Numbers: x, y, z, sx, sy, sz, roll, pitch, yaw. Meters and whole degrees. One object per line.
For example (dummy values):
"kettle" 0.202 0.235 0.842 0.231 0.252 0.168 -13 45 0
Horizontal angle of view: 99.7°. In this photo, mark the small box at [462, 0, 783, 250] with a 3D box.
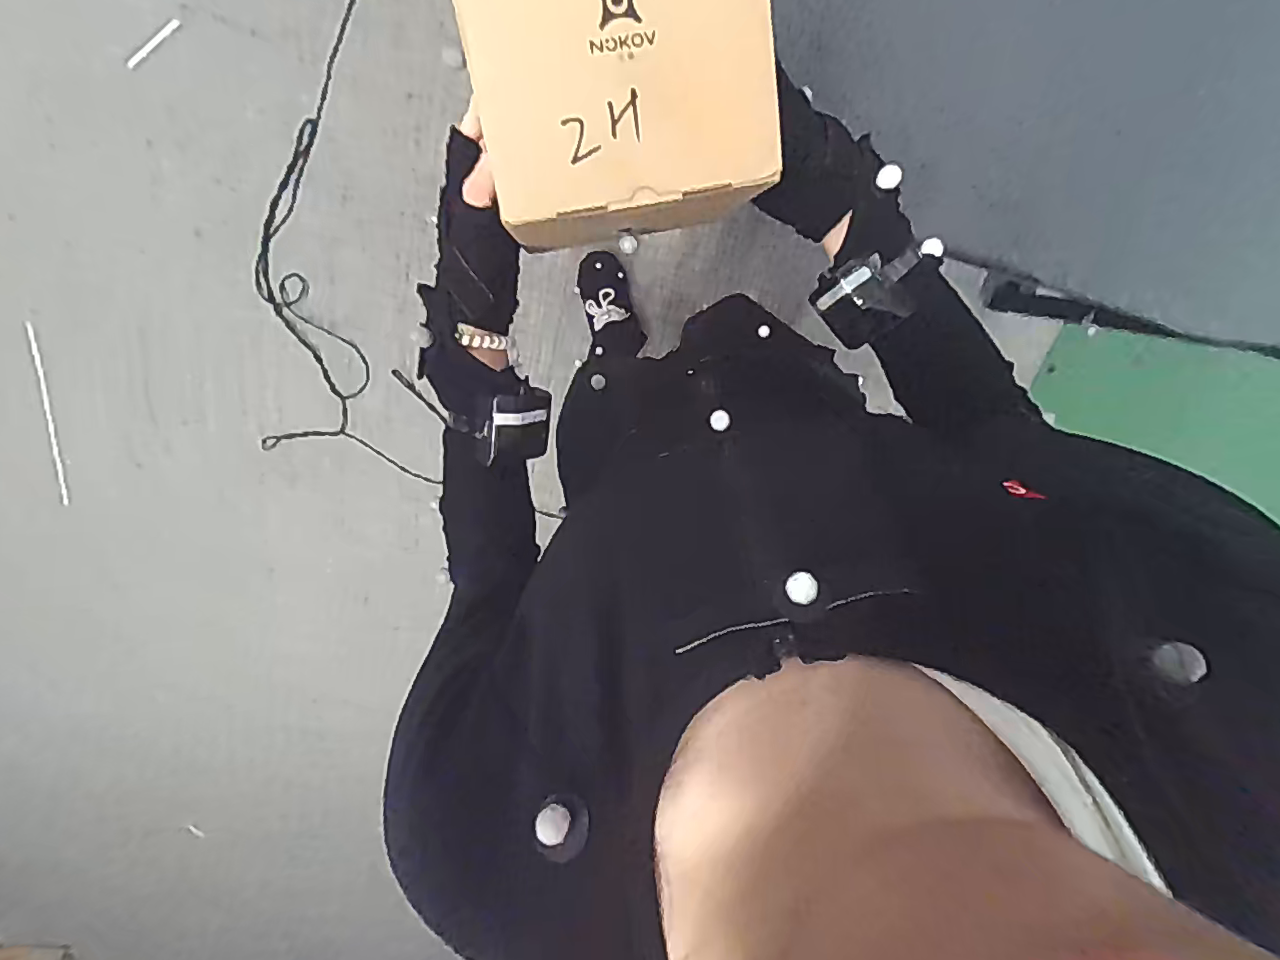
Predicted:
"small box" -0.018 -0.264 0.359 0.168 0.176 0.179 -10 109 -3
